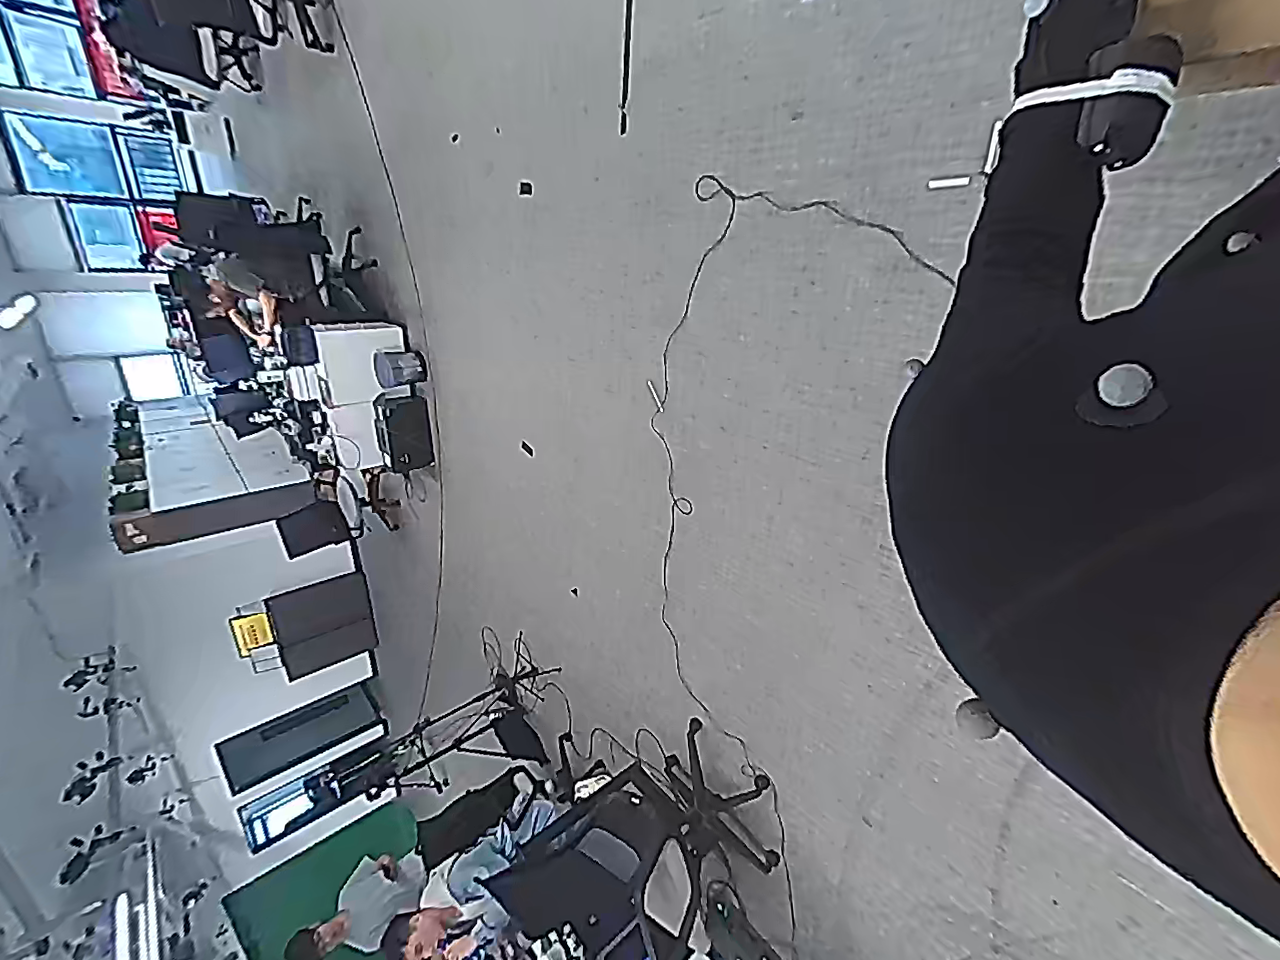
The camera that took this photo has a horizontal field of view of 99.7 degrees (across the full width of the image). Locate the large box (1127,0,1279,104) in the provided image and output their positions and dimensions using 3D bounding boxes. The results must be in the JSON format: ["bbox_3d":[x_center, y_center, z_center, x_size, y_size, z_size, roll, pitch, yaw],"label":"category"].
[{"bbox_3d":[0.576,-0.439,0.295,0.408,0.320,0.320,17,125,39],"label":"large box"}]
